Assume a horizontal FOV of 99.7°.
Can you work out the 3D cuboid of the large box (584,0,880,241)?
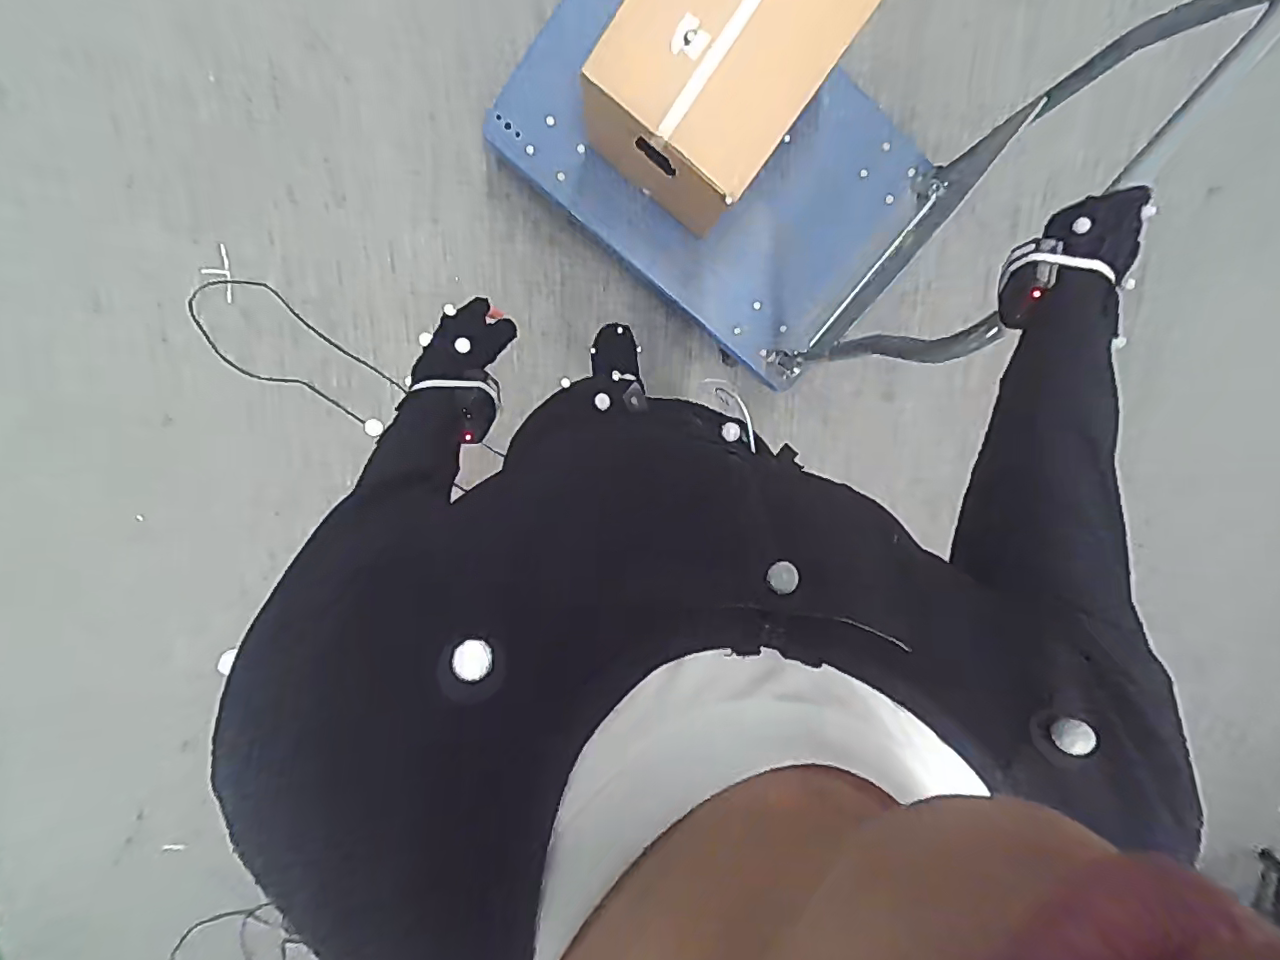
[{"bbox_3d":[0.140,-0.727,0.984,0.320,0.320,0.408,36,100,-9],"label":"large box"}]
